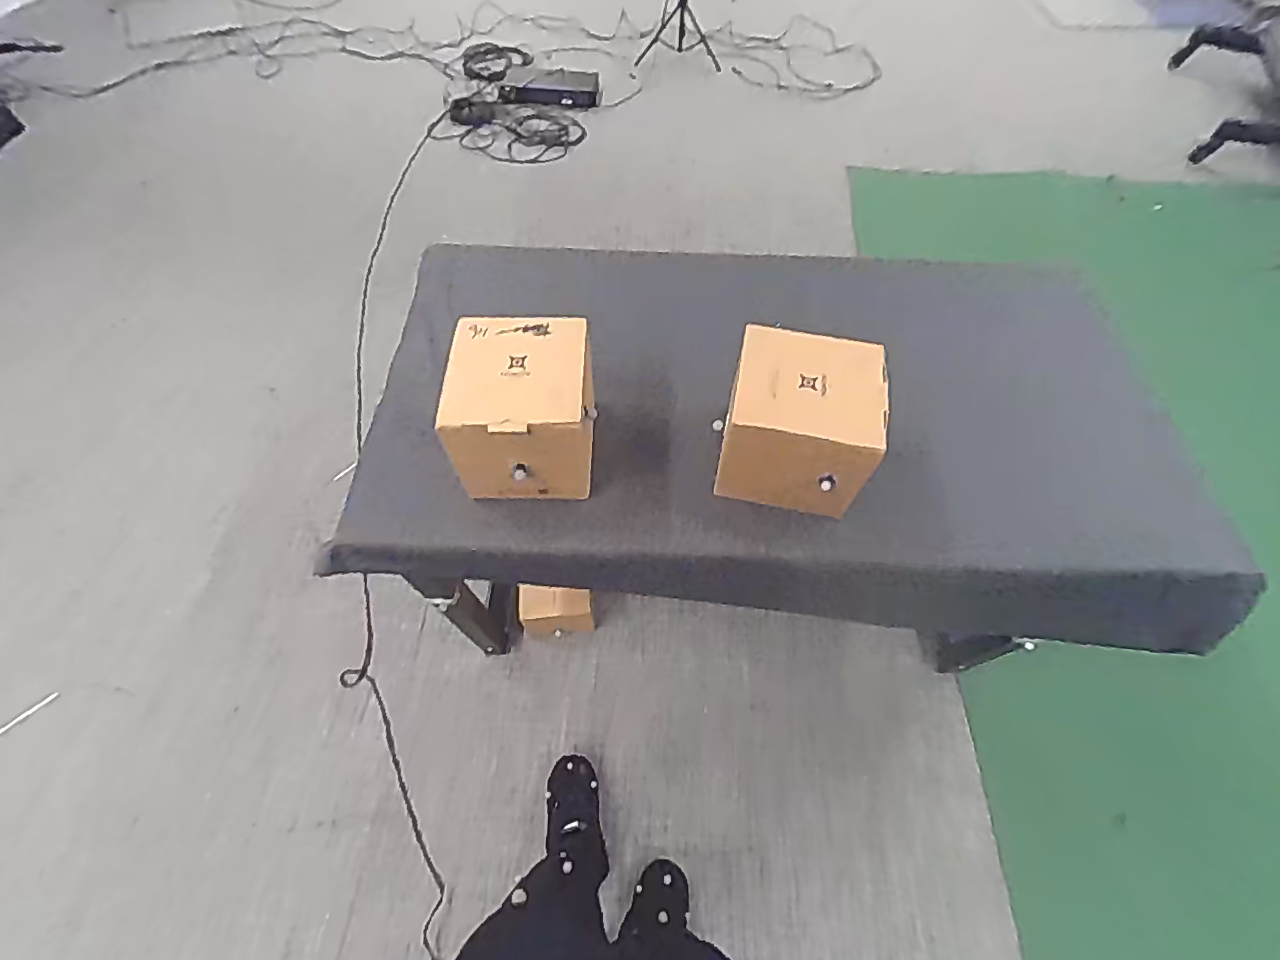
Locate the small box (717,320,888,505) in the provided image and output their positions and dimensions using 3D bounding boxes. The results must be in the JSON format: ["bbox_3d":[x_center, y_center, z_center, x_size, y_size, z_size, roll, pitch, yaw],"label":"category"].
[{"bbox_3d":[0.208,-0.082,0.718,0.179,0.176,0.168,10,59,6],"label":"small box"}]

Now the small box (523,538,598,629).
[{"bbox_3d":[-0.196,0.262,1.355,0.168,0.176,0.179,-5,61,-3],"label":"small box"}]

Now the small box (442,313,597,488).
[{"bbox_3d":[-0.145,-0.099,0.721,0.168,0.176,0.179,0,59,-2],"label":"small box"}]
